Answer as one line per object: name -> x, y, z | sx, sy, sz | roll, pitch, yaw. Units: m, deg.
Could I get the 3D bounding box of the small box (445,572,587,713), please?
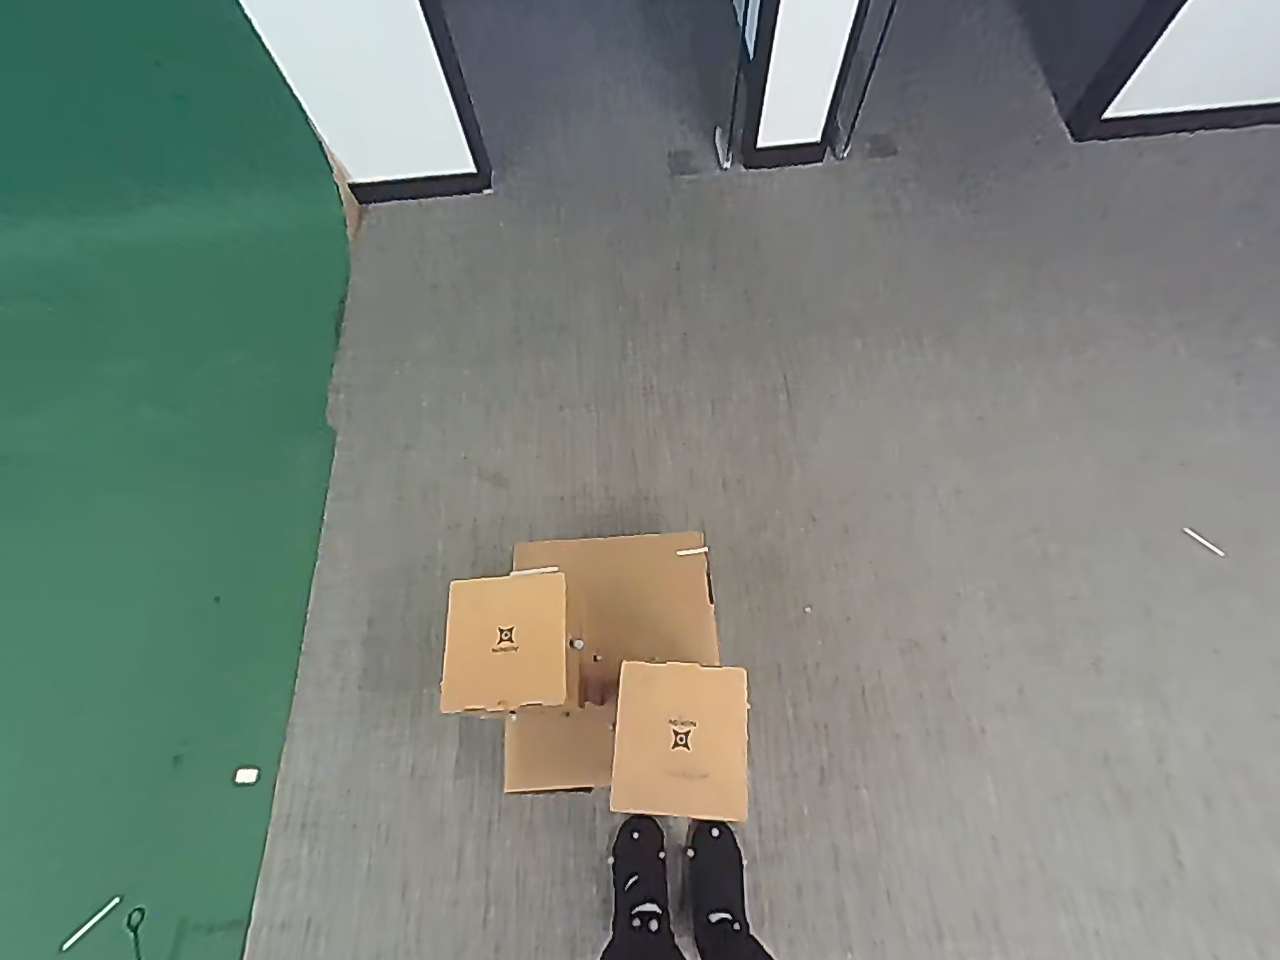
small box -> -0.172, 0.247, 0.804 | 0.168, 0.176, 0.179 | -4, 66, 1

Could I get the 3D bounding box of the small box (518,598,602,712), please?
small box -> -0.161, 0.313, 0.953 | 0.179, 0.176, 0.168 | -6, 65, 1

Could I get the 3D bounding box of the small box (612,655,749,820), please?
small box -> 0.056, 0.348, 0.746 | 0.168, 0.176, 0.179 | 3, 67, 4
